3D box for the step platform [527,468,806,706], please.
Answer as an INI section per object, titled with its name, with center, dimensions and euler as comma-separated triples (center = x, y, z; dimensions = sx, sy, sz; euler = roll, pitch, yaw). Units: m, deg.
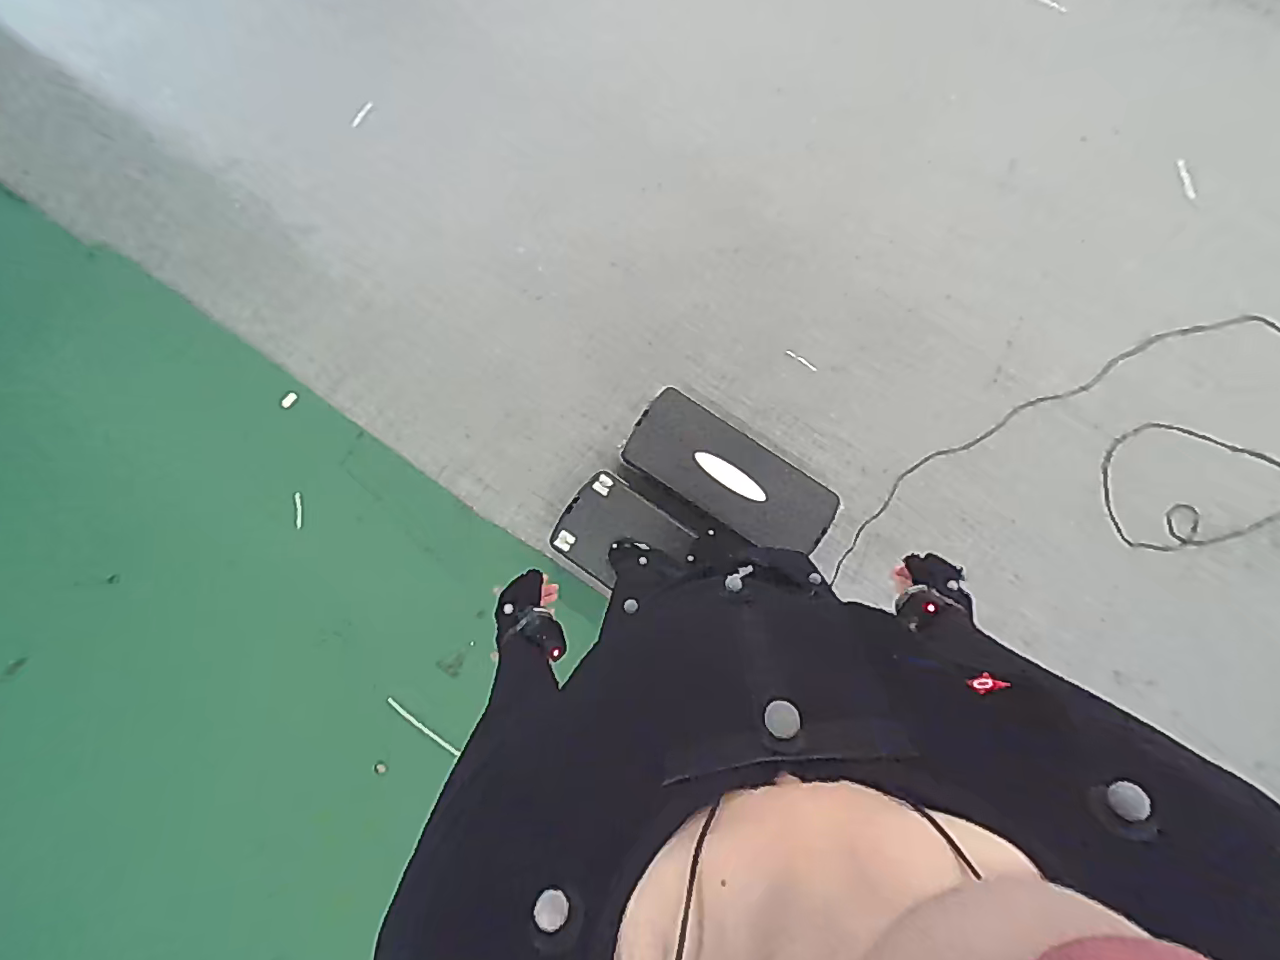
[step platform]
center = 0.061, 0.260, 1.391
dimensions = 0.684, 0.204, 0.286
euler = 34, 86, 4
